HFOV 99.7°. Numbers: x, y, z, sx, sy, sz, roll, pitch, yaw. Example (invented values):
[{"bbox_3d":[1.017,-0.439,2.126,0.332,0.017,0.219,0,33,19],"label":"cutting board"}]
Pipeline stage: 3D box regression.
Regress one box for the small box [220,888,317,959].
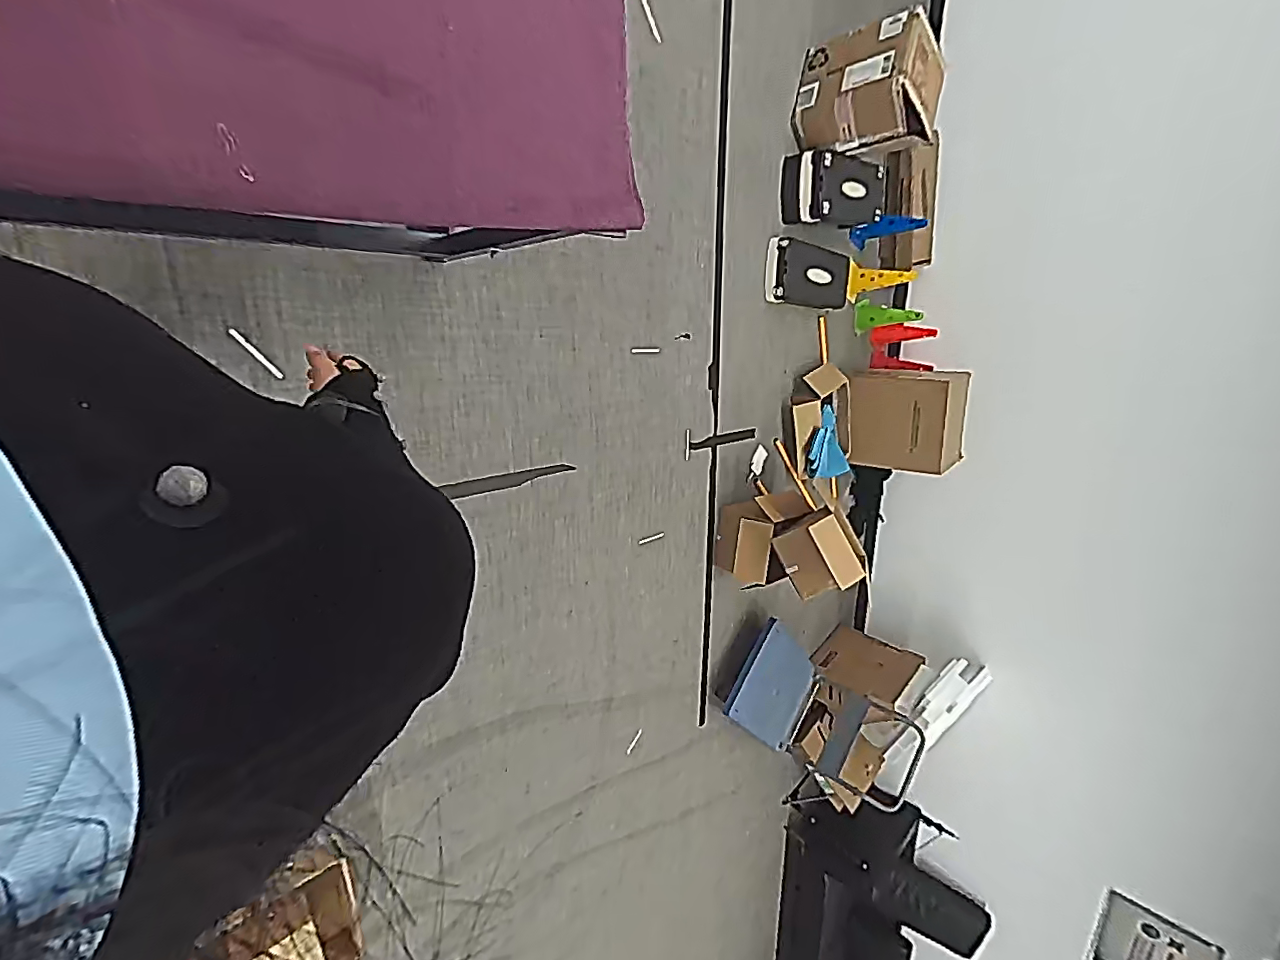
[{"bbox_3d":[-0.962,1.216,1.403,0.168,0.176,0.179,-17,113,-40],"label":"small box"}]
